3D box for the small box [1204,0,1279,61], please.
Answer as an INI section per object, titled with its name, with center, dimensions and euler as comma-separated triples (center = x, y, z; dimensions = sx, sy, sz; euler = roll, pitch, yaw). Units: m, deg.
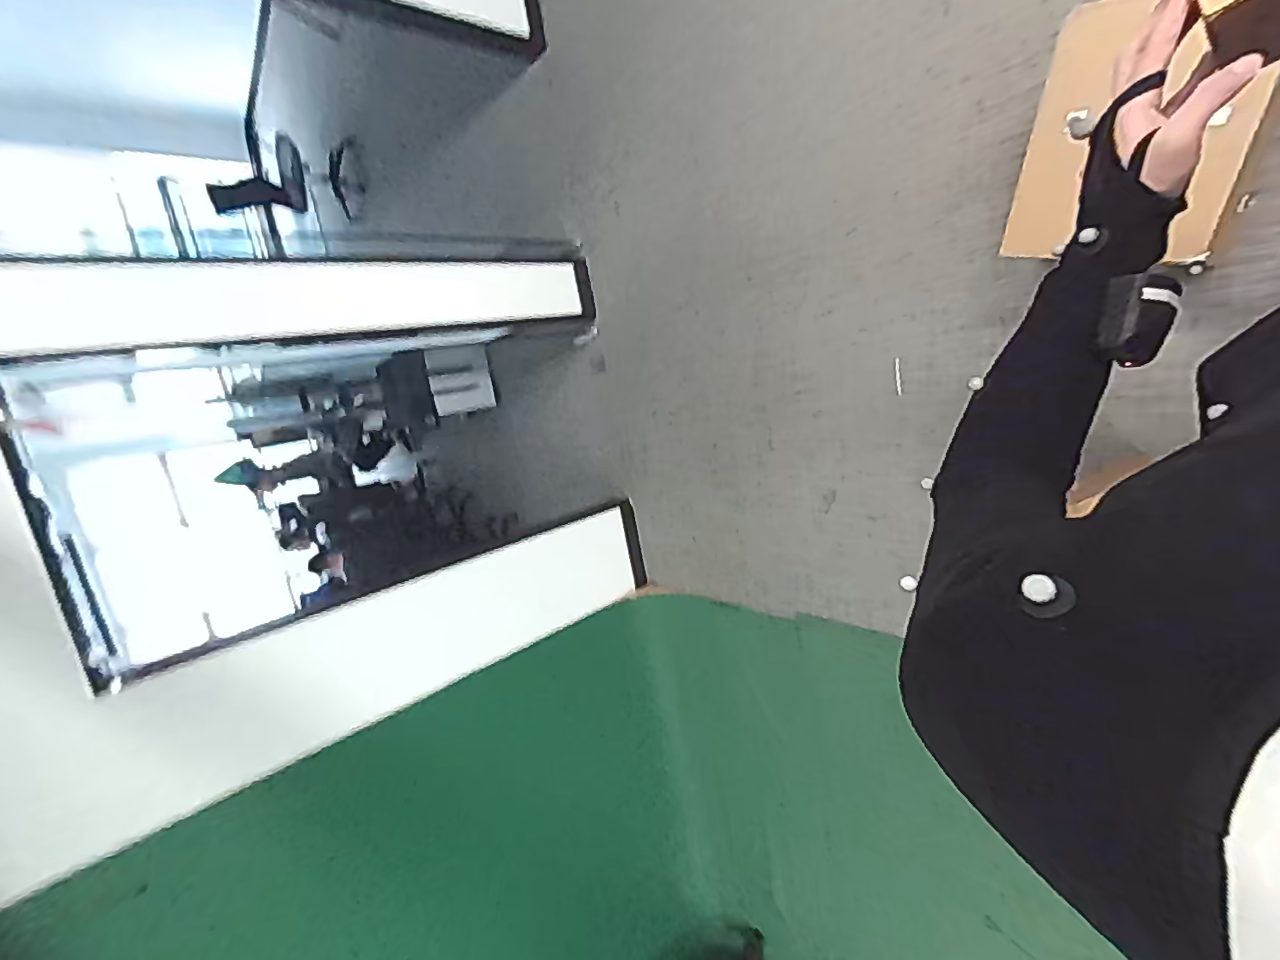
[small box]
center = 0.487, -0.427, 0.361
dimensions = 0.168, 0.176, 0.179
euler = -14, 90, 51
